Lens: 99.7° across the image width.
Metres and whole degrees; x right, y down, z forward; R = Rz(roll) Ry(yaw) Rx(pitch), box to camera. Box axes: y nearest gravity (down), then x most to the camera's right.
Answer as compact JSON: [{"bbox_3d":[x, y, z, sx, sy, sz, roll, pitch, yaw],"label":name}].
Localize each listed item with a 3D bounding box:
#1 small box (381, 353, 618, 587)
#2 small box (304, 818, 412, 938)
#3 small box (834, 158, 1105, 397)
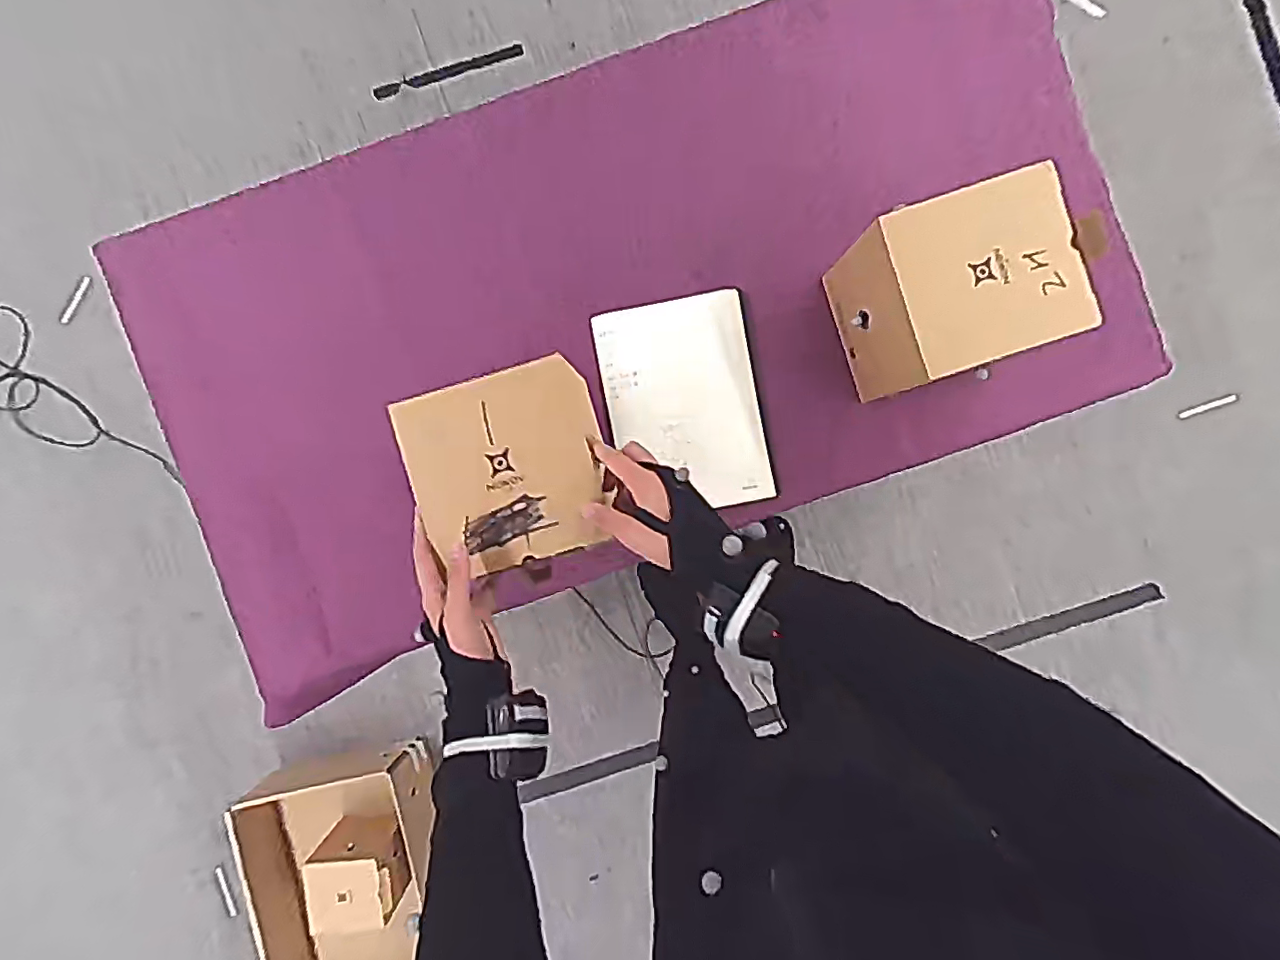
[{"bbox_3d":[-0.126,-0.012,0.558,0.168,0.176,0.179,-17,91,2],"label":"small box"},{"bbox_3d":[-0.664,0.943,1.296,0.179,0.176,0.168,-5,91,0],"label":"small box"},{"bbox_3d":[0.329,-0.198,0.585,0.179,0.176,0.168,-18,91,1],"label":"small box"}]
